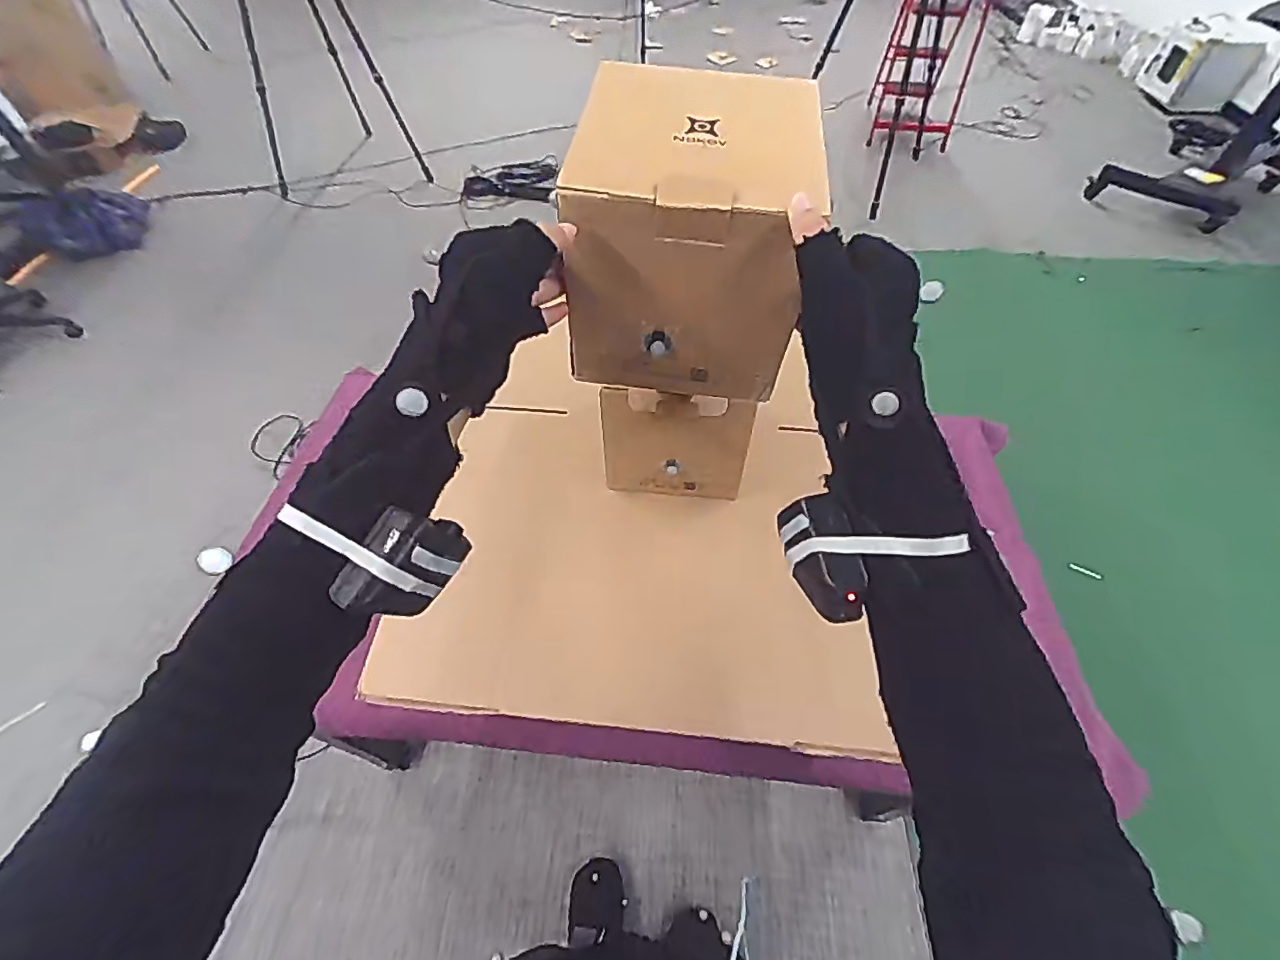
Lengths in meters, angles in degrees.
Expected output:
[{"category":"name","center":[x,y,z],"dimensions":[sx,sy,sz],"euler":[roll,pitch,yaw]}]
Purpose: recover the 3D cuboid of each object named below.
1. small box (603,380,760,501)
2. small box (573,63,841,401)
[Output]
[{"category":"small box","center":[0.051,-0.099,0.668],"dimensions":[0.168,0.176,0.179],"euler":[5,52,4]},{"category":"small box","center":[0.045,-0.190,0.433],"dimensions":[0.168,0.176,0.179],"euler":[7,59,1]}]
